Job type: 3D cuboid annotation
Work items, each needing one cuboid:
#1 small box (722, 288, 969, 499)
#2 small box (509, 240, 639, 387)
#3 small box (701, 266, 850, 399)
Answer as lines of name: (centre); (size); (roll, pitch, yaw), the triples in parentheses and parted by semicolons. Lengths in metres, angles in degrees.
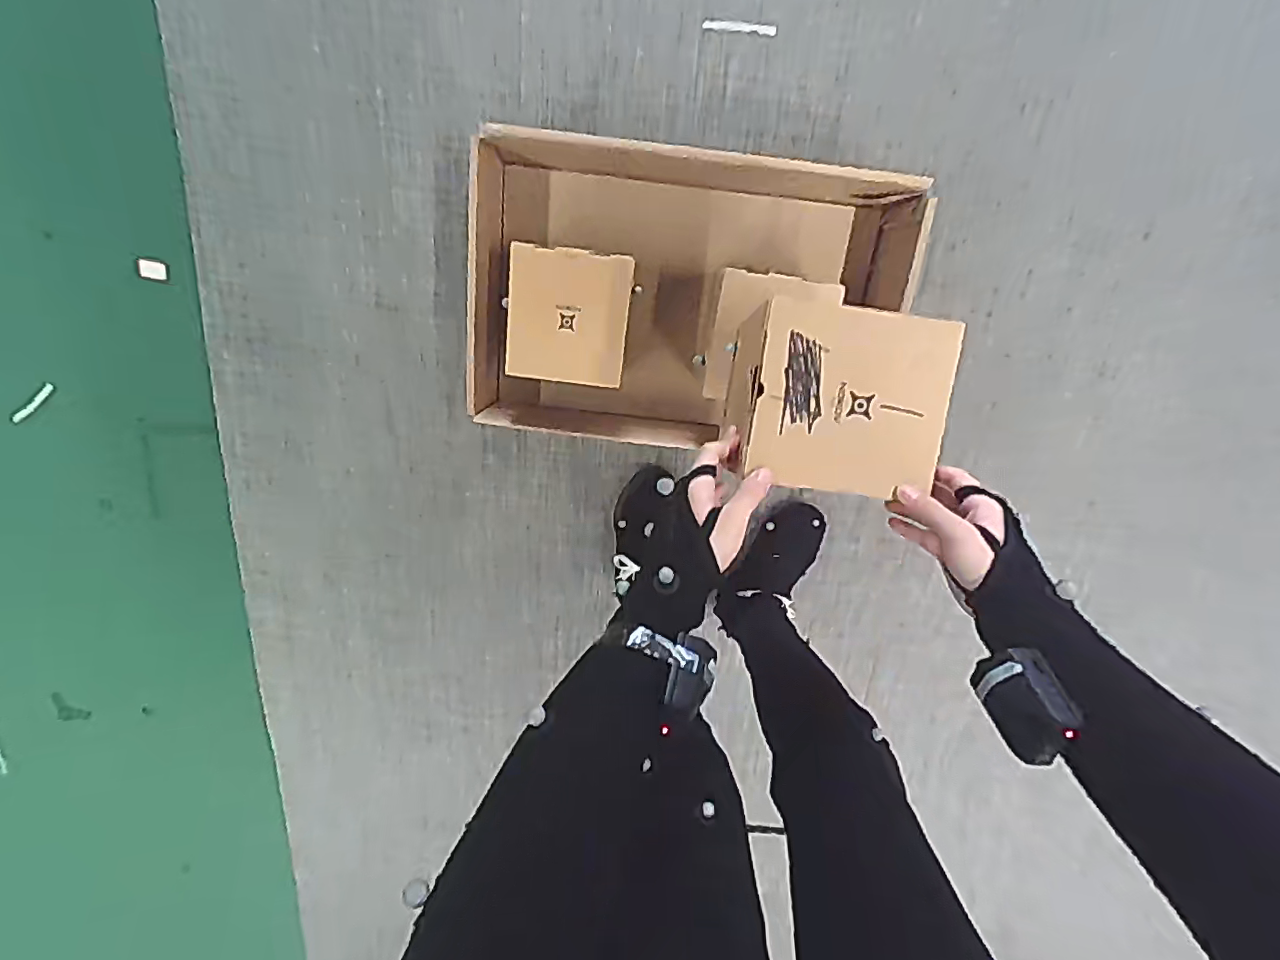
small box: (0.189, -0.084, 0.557); (0.179, 0.176, 0.168); (8, 98, -2)
small box: (-0.092, -0.247, 0.810); (0.168, 0.176, 0.179); (7, 107, -1)
small box: (0.188, -0.213, 0.813); (0.168, 0.176, 0.179); (9, 108, -1)
